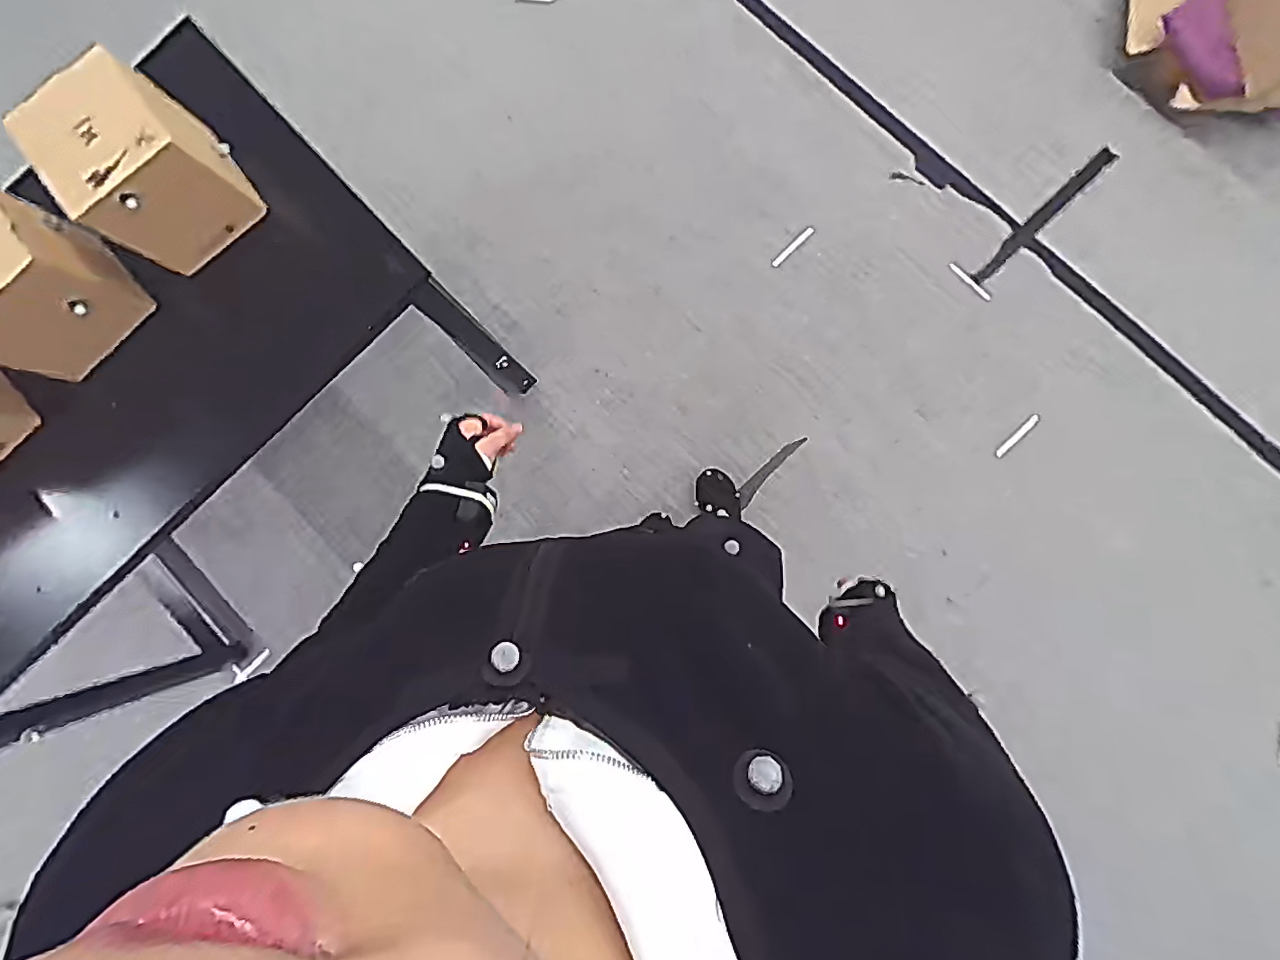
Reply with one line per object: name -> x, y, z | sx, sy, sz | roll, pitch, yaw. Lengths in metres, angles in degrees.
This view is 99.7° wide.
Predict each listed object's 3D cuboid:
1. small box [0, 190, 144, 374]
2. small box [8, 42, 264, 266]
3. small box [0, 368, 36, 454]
small box -> -0.875, -0.282, 0.772 | 0.179, 0.176, 0.168 | -43, 84, 1
small box -> -0.698, -0.446, 0.770 | 0.168, 0.176, 0.179 | -38, 84, 1
small box -> -1.056, -0.112, 0.770 | 0.168, 0.176, 0.179 | -44, 86, 0
